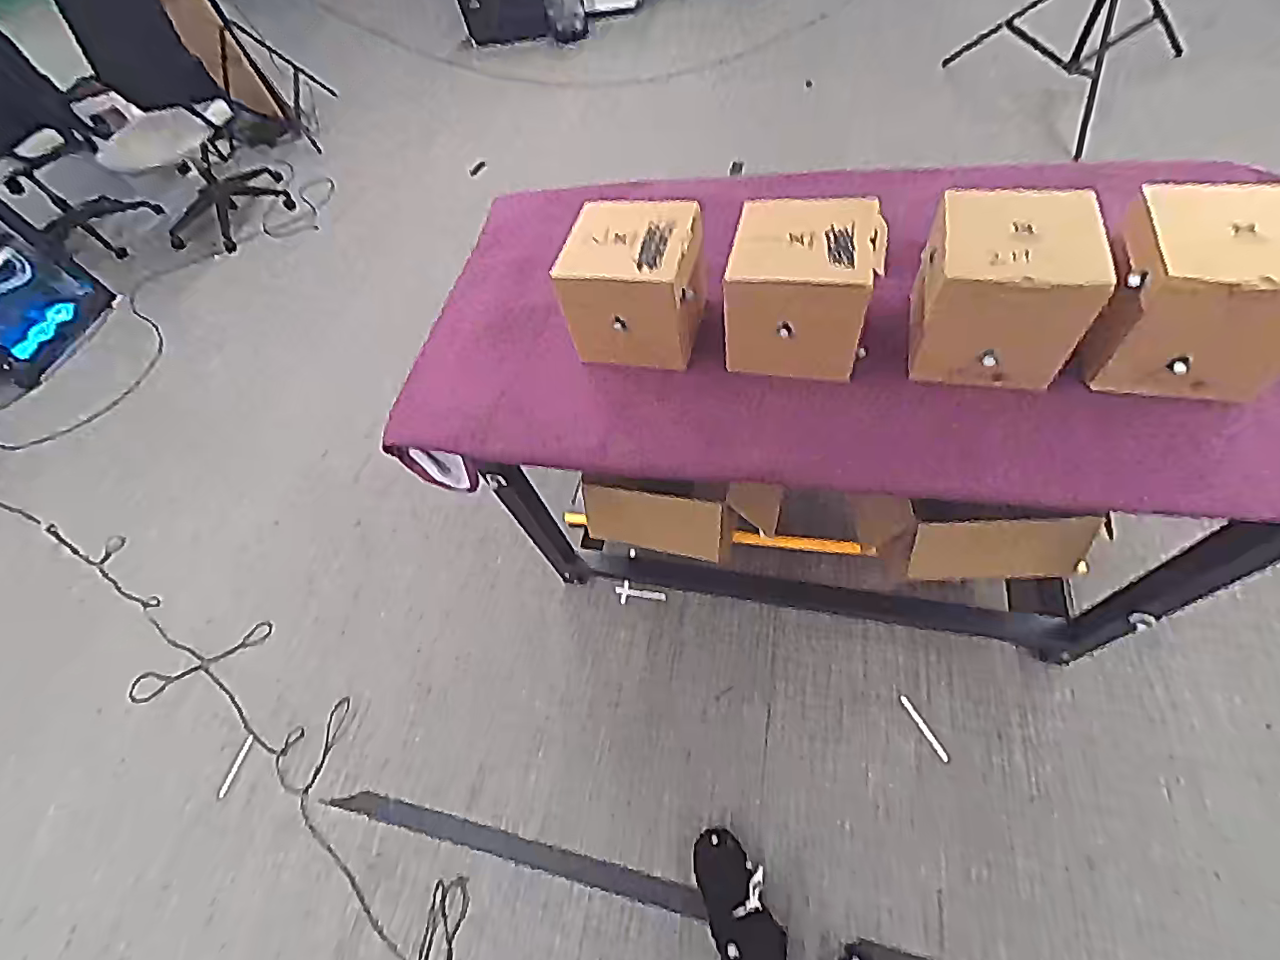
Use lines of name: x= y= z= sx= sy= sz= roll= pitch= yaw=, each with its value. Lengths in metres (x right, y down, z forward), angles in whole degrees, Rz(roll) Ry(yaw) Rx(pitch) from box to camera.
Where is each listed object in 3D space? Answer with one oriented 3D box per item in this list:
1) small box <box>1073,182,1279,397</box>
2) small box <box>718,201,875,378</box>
small box: x=0.654 y=-0.226 z=0.643 sx=0.168 sy=0.176 sz=0.179 roll=9 pitch=60 yaw=17
small box: x=0.215 y=-0.259 z=0.752 sx=0.179 sy=0.176 sz=0.168 roll=8 pitch=60 yaw=17
